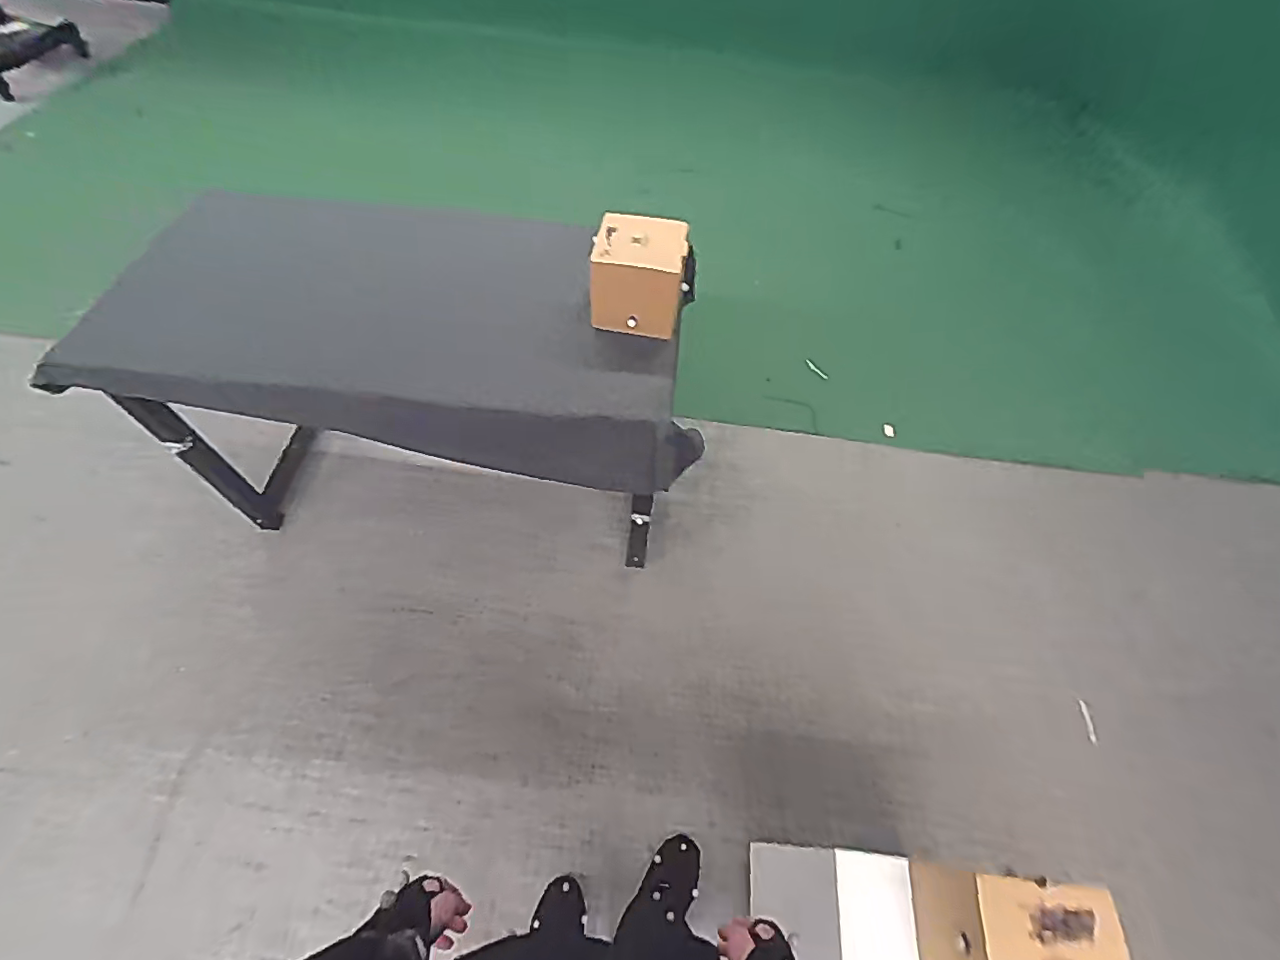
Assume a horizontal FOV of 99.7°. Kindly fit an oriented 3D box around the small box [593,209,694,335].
[{"bbox_3d":[0.005,-0.424,1.121,0.179,0.176,0.168,11,57,1],"label":"small box"}]

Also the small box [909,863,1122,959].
[{"bbox_3d":[0.460,0.597,0.673,0.168,0.176,0.179,8,60,0],"label":"small box"}]
